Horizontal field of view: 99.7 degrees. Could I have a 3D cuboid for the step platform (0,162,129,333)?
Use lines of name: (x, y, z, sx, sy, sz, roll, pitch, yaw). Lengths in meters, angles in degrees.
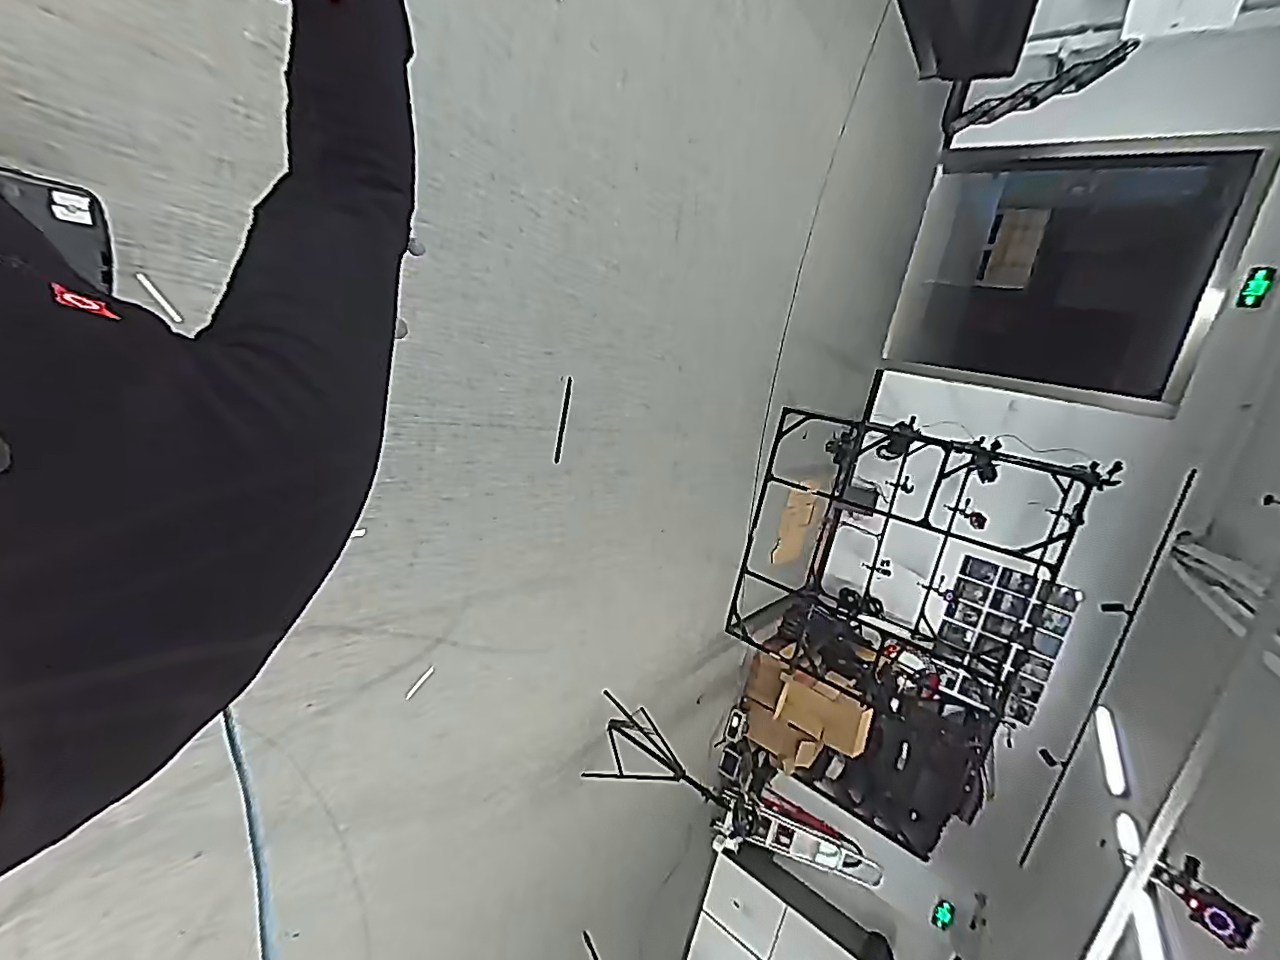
step platform: (-1.286, -0.424, 0.863, 0.684, 0.204, 0.286, -8, 113, -54)
